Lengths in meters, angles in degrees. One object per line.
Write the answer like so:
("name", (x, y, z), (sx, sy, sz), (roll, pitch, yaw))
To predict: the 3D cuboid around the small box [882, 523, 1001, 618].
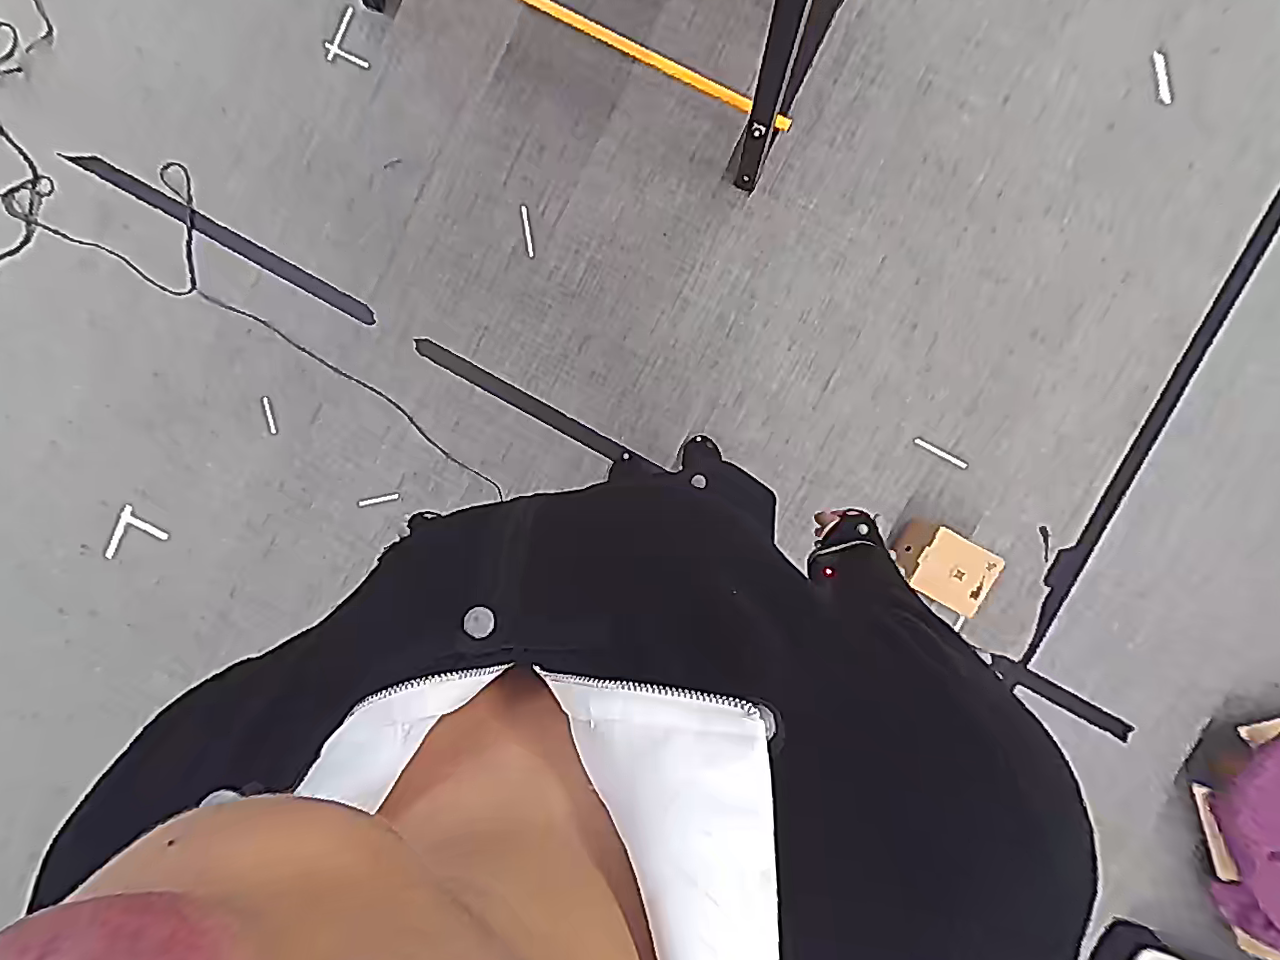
("small box", (0.752, 0.219, 1.373), (0.179, 0.176, 0.168), (30, 93, 2))
